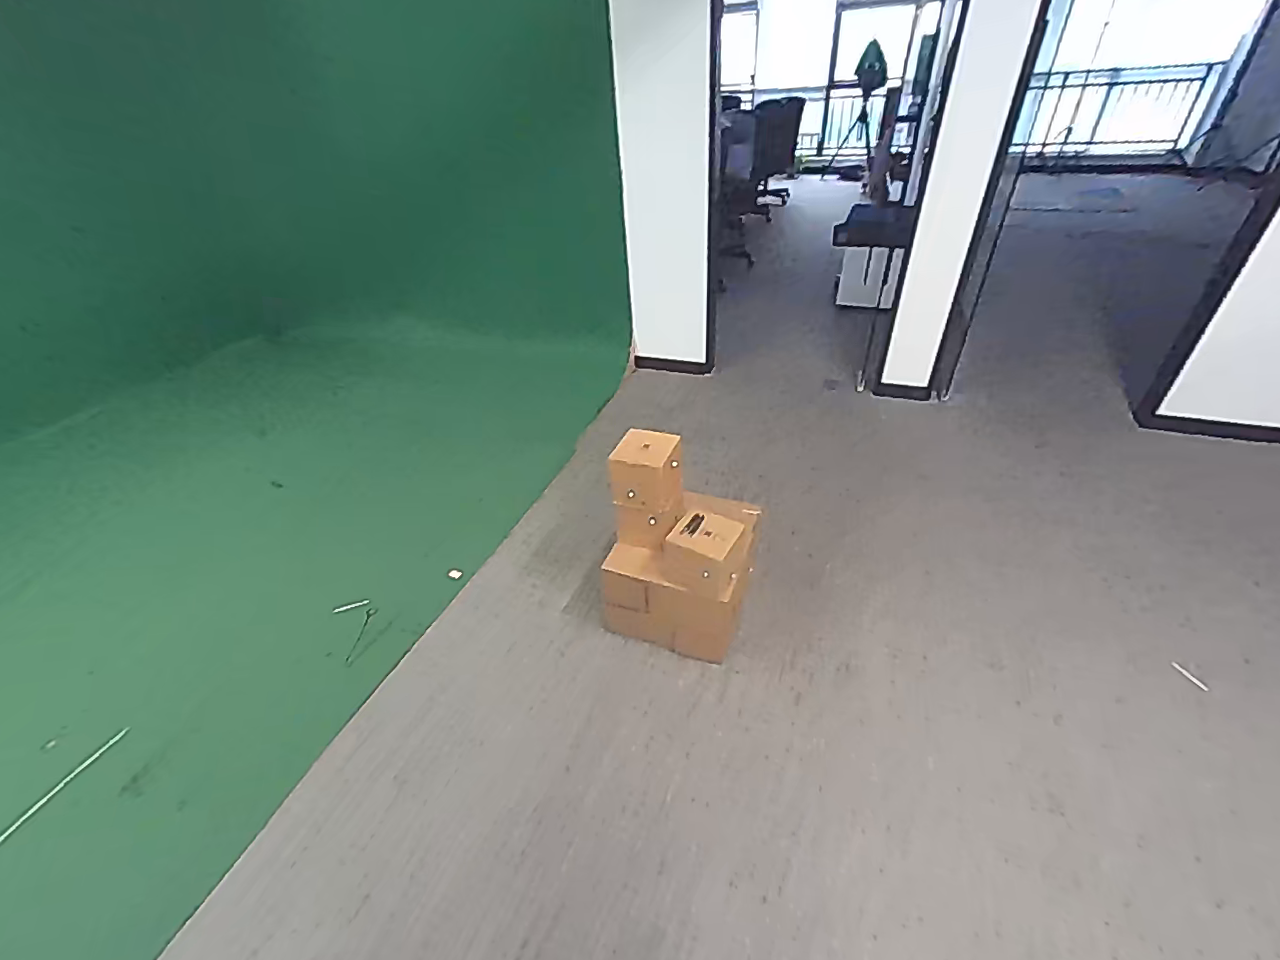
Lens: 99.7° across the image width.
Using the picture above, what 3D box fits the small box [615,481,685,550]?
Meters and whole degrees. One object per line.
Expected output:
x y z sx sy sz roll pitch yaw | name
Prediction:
0.037 0.102 1.724 0.179 0.176 0.168 10 38 19 | small box

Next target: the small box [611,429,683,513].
0.025 -0.029 1.628 0.168 0.176 0.179 11 39 20 | small box
